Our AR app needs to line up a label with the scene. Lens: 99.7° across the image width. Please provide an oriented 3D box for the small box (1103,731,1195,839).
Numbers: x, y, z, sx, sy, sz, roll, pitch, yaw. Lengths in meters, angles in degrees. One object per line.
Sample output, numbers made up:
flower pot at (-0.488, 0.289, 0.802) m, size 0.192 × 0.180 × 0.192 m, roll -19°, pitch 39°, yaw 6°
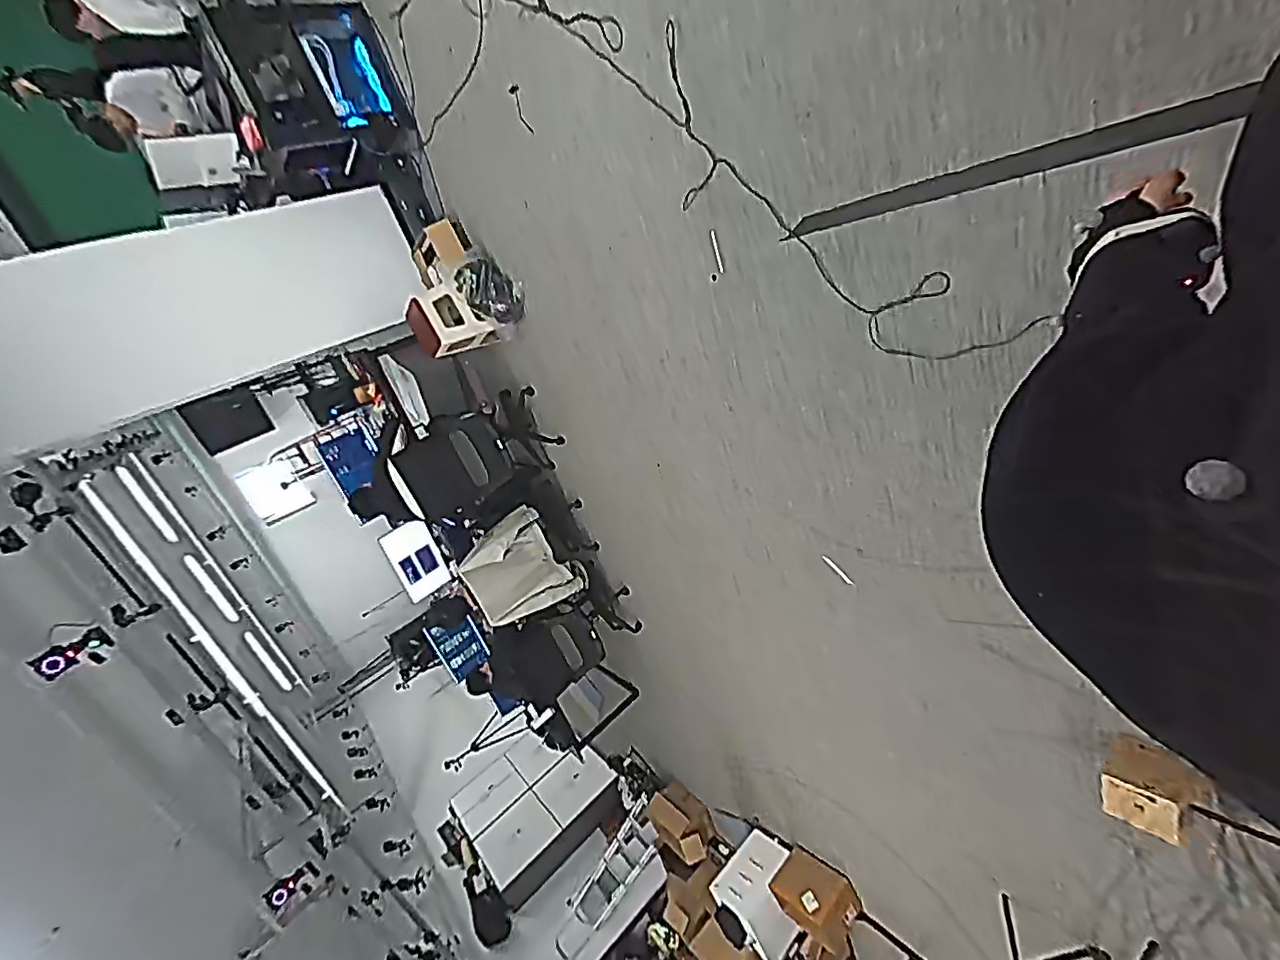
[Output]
small box at (1.478, 0.876, 1.569) m, size 0.168 × 0.176 × 0.179 m, roll 9°, pitch 128°, yaw 53°
